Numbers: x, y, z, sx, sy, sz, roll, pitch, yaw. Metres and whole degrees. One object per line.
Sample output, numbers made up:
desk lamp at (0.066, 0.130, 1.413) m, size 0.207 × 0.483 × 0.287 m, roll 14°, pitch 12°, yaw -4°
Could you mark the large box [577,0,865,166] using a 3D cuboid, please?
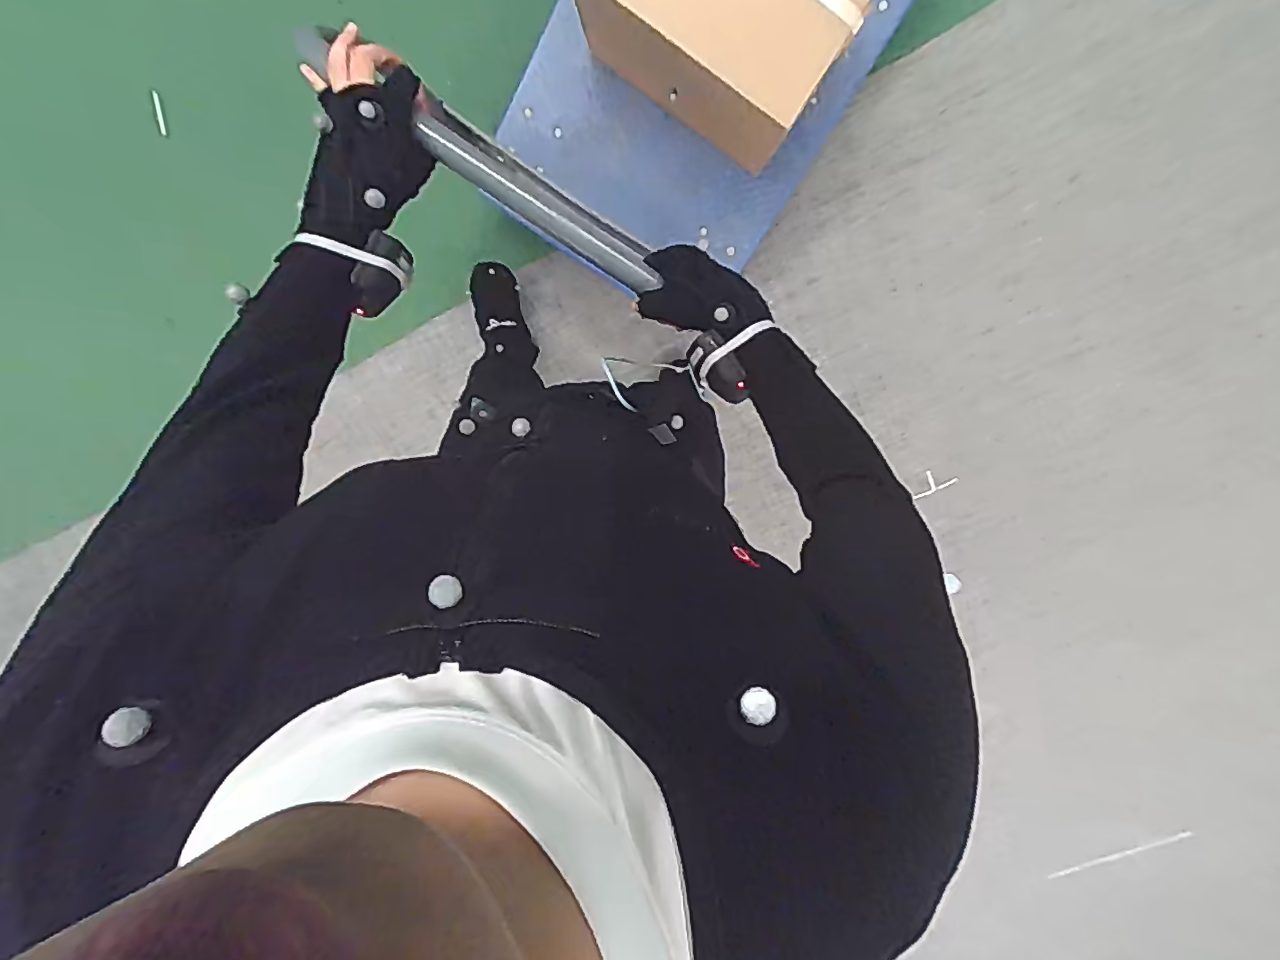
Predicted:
large box at (0.146, -0.809, 0.894) m, size 0.408 × 0.320 × 0.320 m, roll 33°, pitch 106°, yaw -6°
